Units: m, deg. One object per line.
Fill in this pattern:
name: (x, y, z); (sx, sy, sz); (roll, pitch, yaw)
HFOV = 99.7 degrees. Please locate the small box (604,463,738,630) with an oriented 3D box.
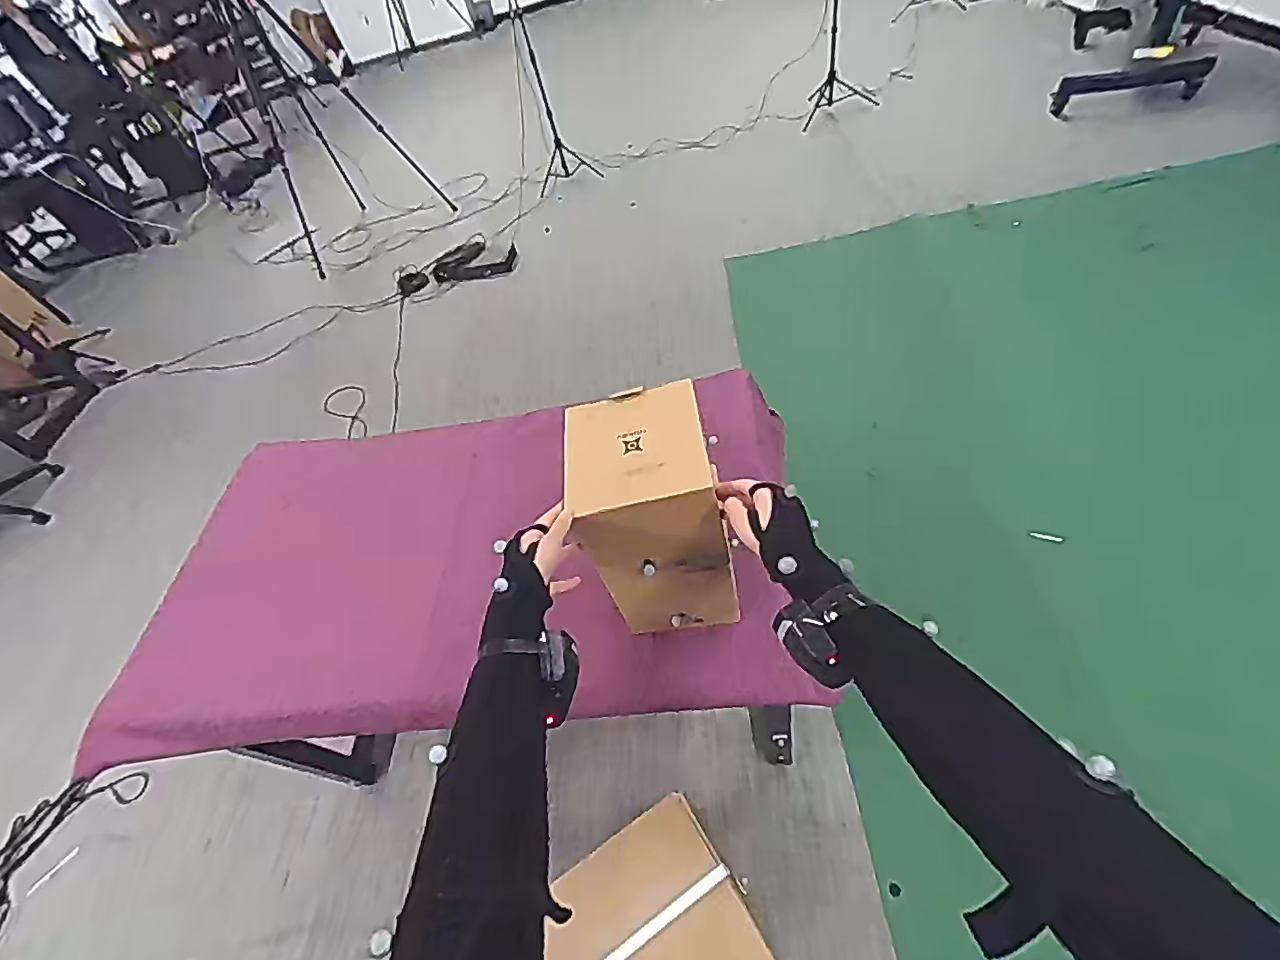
small box: (0.049, 0.102, 0.805); (0.168, 0.176, 0.179); (-9, 51, 9)

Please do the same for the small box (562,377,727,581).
small box: (0.009, 0.003, 0.682); (0.168, 0.176, 0.179); (-12, 50, 8)
